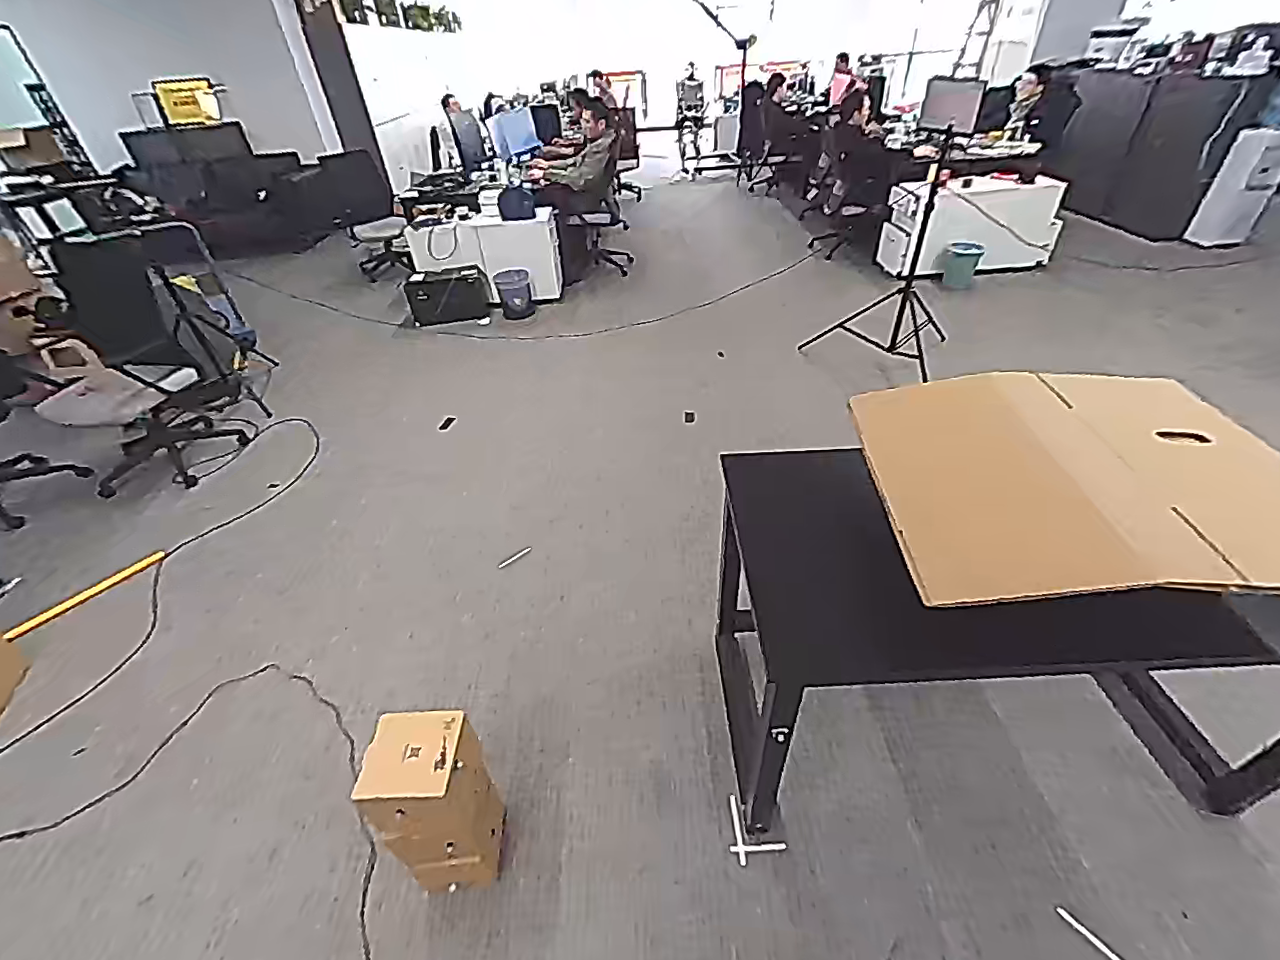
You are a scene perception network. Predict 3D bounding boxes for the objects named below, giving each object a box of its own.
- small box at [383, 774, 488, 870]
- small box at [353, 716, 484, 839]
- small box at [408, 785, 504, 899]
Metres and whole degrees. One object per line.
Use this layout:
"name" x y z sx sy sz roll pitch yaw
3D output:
"small box" -0.438 0.730 1.193 0.168 0.176 0.179 -7 37 -5
"small box" -0.434 0.601 1.090 0.179 0.176 0.168 -4 38 1
"small box" -0.426 0.861 1.287 0.168 0.176 0.179 -6 39 -2
